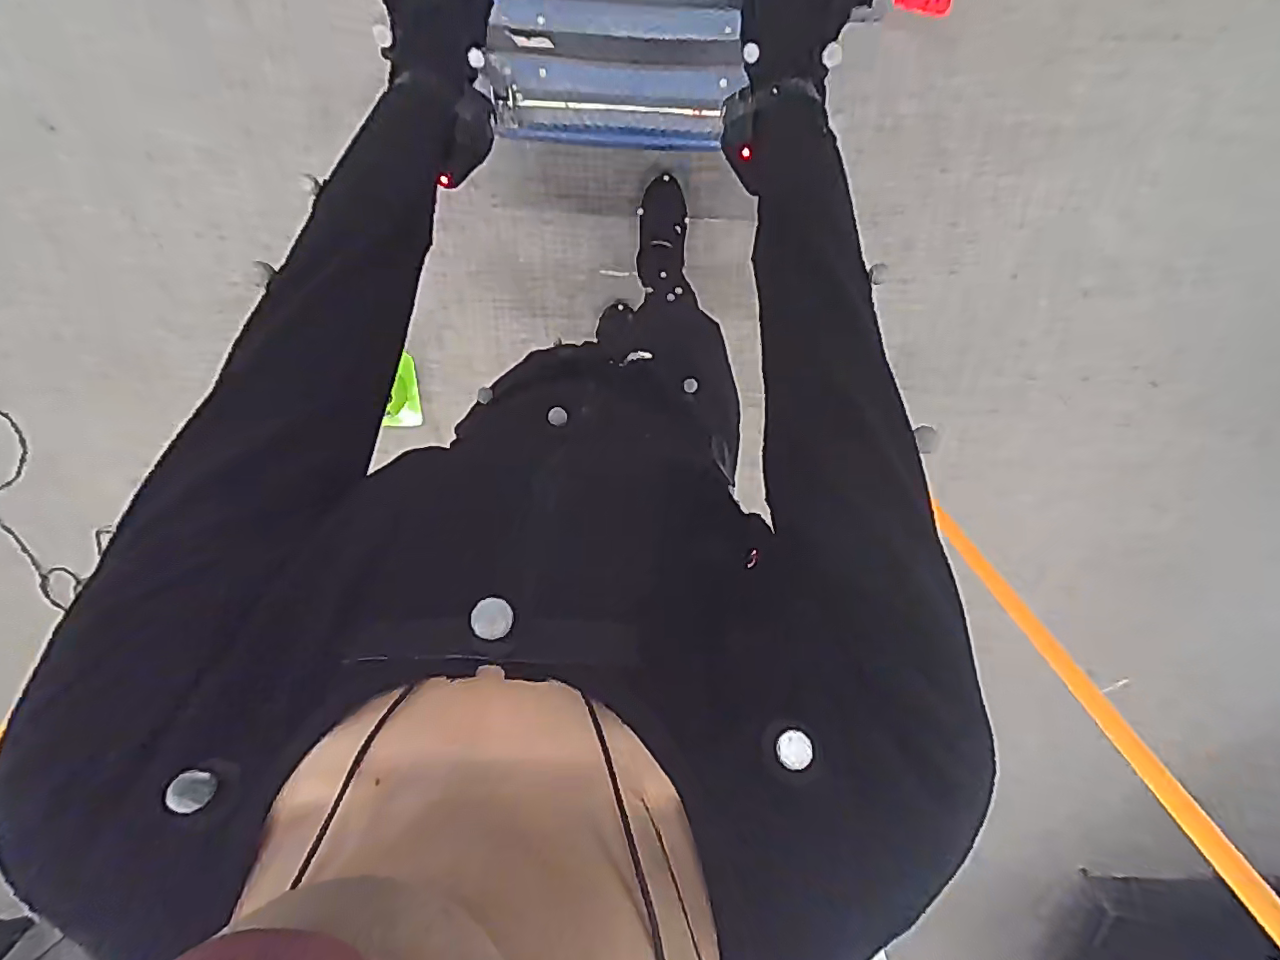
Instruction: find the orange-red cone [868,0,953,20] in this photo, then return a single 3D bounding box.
[{"bbox_3d":[0.575,-1.019,0.953,0.198,0.360,0.199,12,112,-4],"label":"orange-red cone"}]
